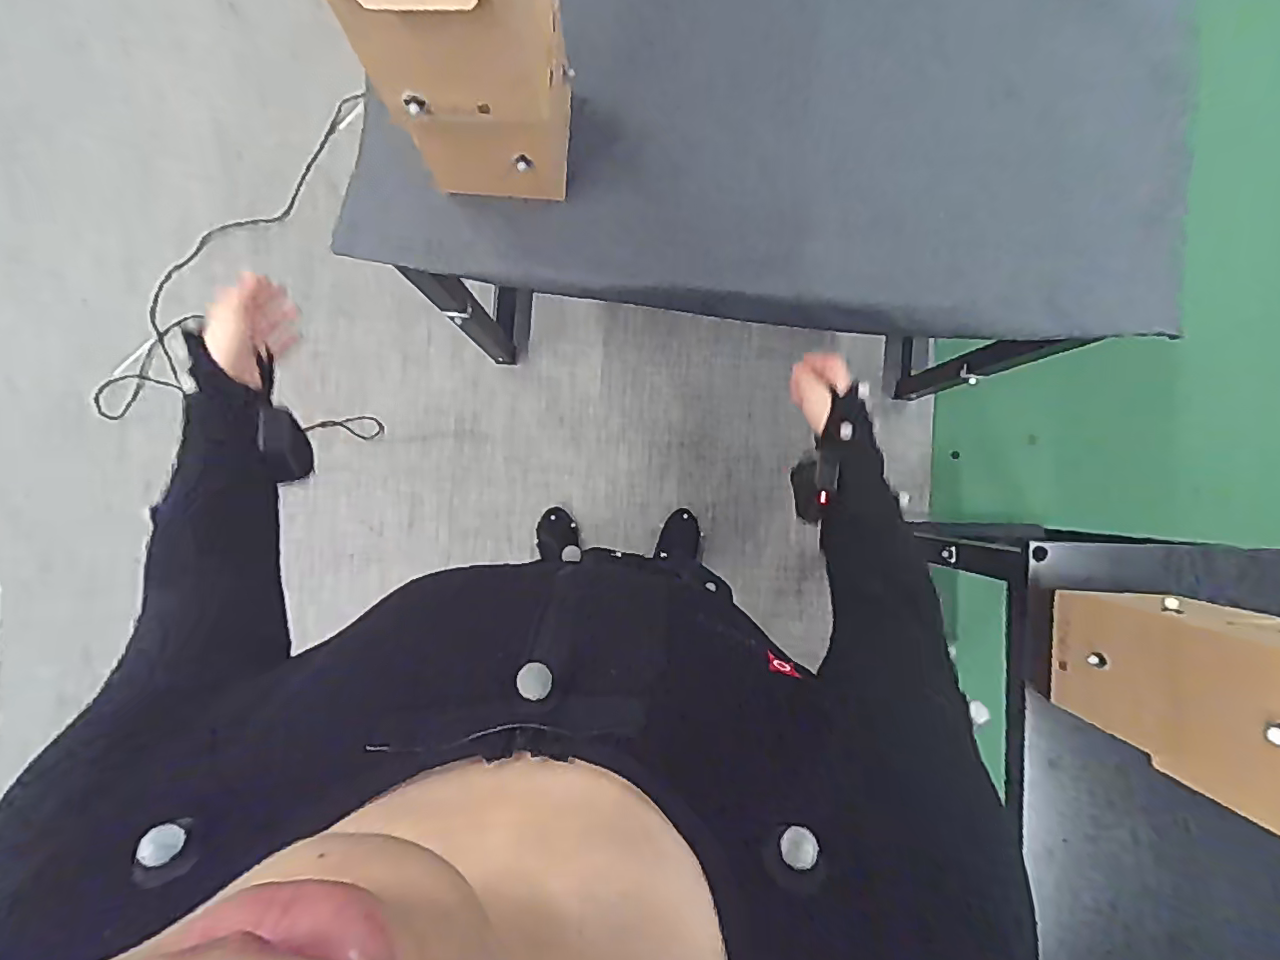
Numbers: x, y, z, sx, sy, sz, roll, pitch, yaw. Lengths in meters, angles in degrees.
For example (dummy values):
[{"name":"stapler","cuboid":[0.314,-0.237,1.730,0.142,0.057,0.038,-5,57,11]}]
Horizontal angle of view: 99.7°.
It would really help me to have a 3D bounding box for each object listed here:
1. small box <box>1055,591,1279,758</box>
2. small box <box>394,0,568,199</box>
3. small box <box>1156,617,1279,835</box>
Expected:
[{"name":"small box","cuboid":[0.682,0.243,0.698,0.179,0.176,0.168,3,90,-1]},{"name":"small box","cuboid":[-0.189,-0.486,0.694,0.179,0.176,0.168,2,87,-1]},{"name":"small box","cuboid":[0.669,0.247,0.535,0.168,0.176,0.179,3,89,-1]}]
